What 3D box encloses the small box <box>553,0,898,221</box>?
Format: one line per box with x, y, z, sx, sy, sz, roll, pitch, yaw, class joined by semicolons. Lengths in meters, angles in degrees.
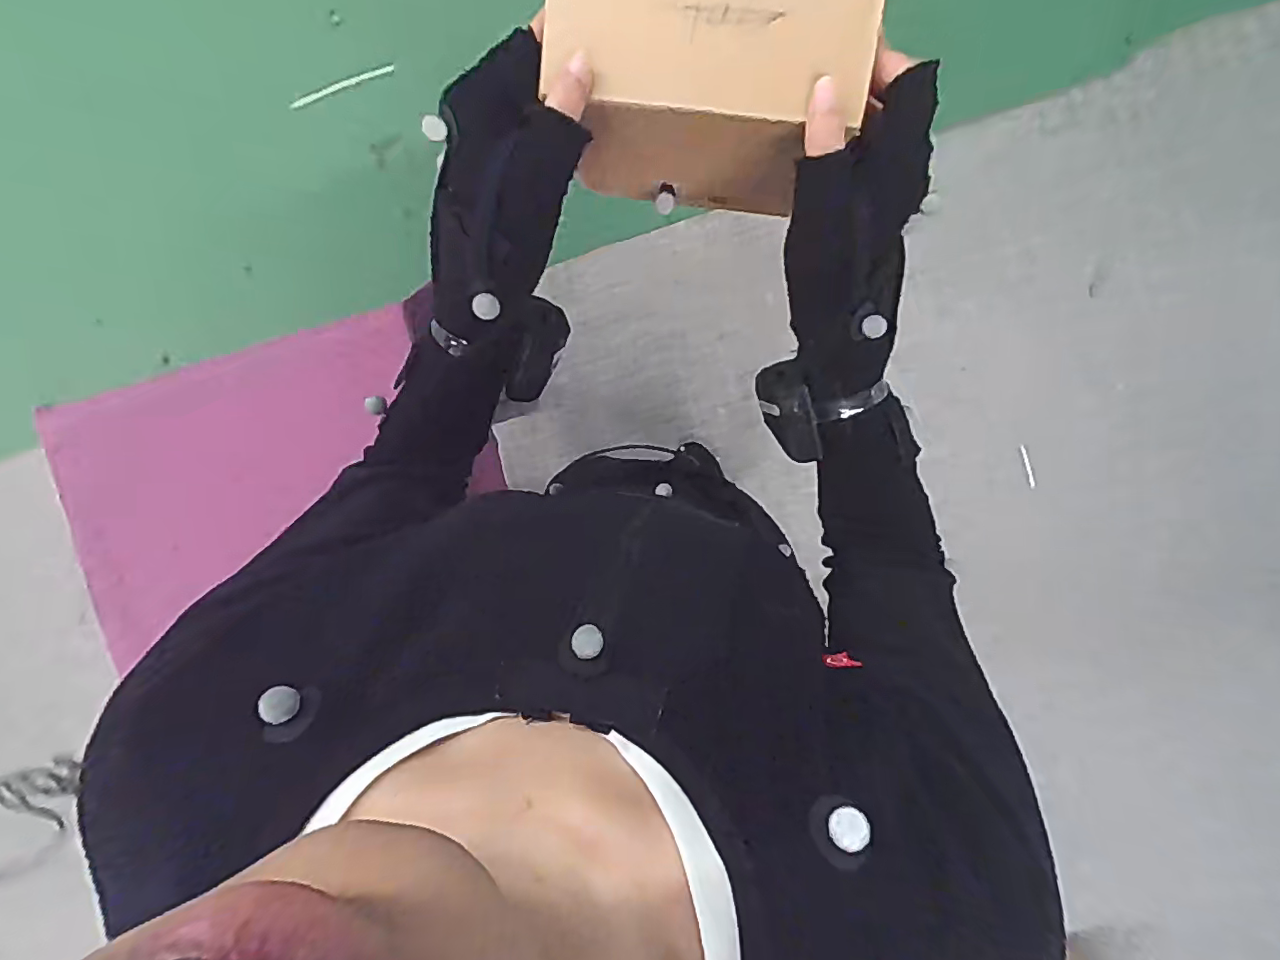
0.051;-0.282;0.333;0.168;0.176;0.179;8;103;2;small box
